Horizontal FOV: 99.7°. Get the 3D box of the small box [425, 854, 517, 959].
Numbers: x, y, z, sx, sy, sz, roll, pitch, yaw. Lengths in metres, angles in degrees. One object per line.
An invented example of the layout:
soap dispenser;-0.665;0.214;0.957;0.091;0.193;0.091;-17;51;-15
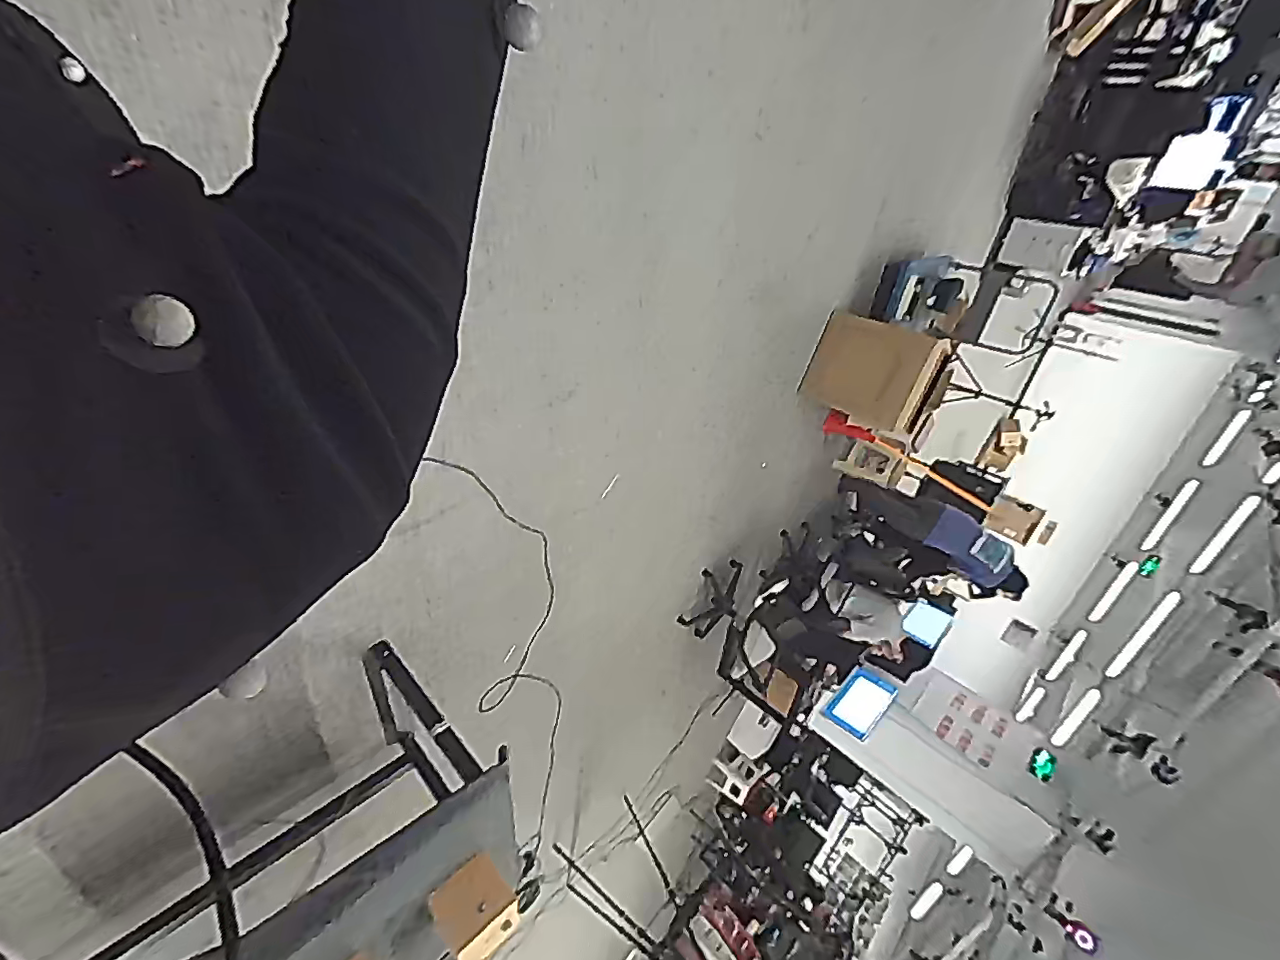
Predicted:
small box;-0.458;1.177;1.473;0.179;0.176;0.168;-26;134;-37
